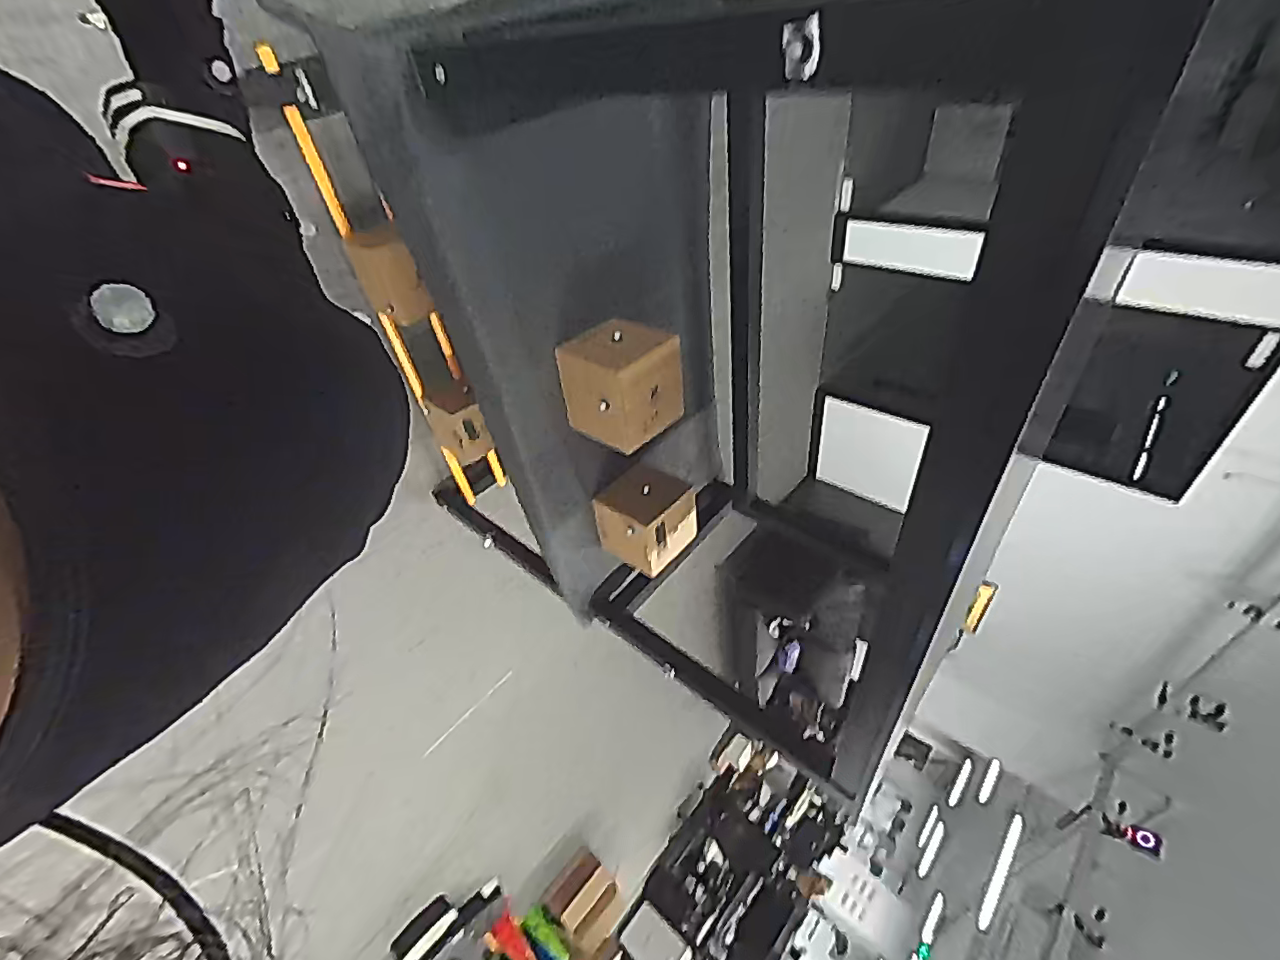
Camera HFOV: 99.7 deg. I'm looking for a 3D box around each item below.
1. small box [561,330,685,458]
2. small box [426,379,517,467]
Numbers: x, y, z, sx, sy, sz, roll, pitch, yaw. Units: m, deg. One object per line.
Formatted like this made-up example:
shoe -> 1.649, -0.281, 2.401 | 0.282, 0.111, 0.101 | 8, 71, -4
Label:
small box -> -0.032, -0.175, 1.037 | 0.168, 0.176, 0.179 | -38, 138, -32
small box -> -0.489, -0.169, 1.551 | 0.179, 0.176, 0.168 | -37, 138, -33
